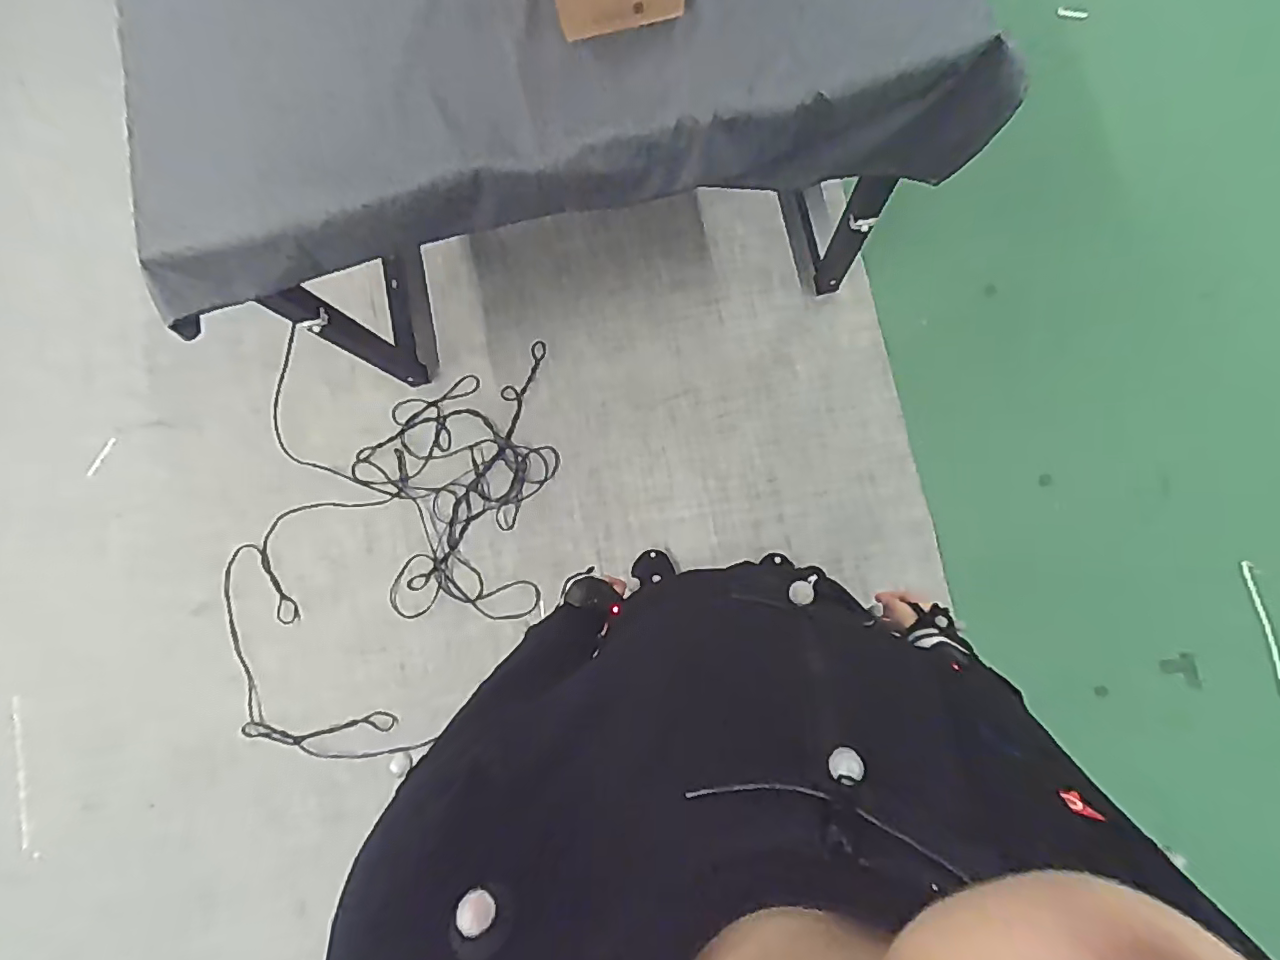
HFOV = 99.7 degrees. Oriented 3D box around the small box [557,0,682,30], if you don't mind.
[{"bbox_3d":[-0.040,-0.708,0.672,0.168,0.176,0.179,-9,81,4],"label":"small box"}]
